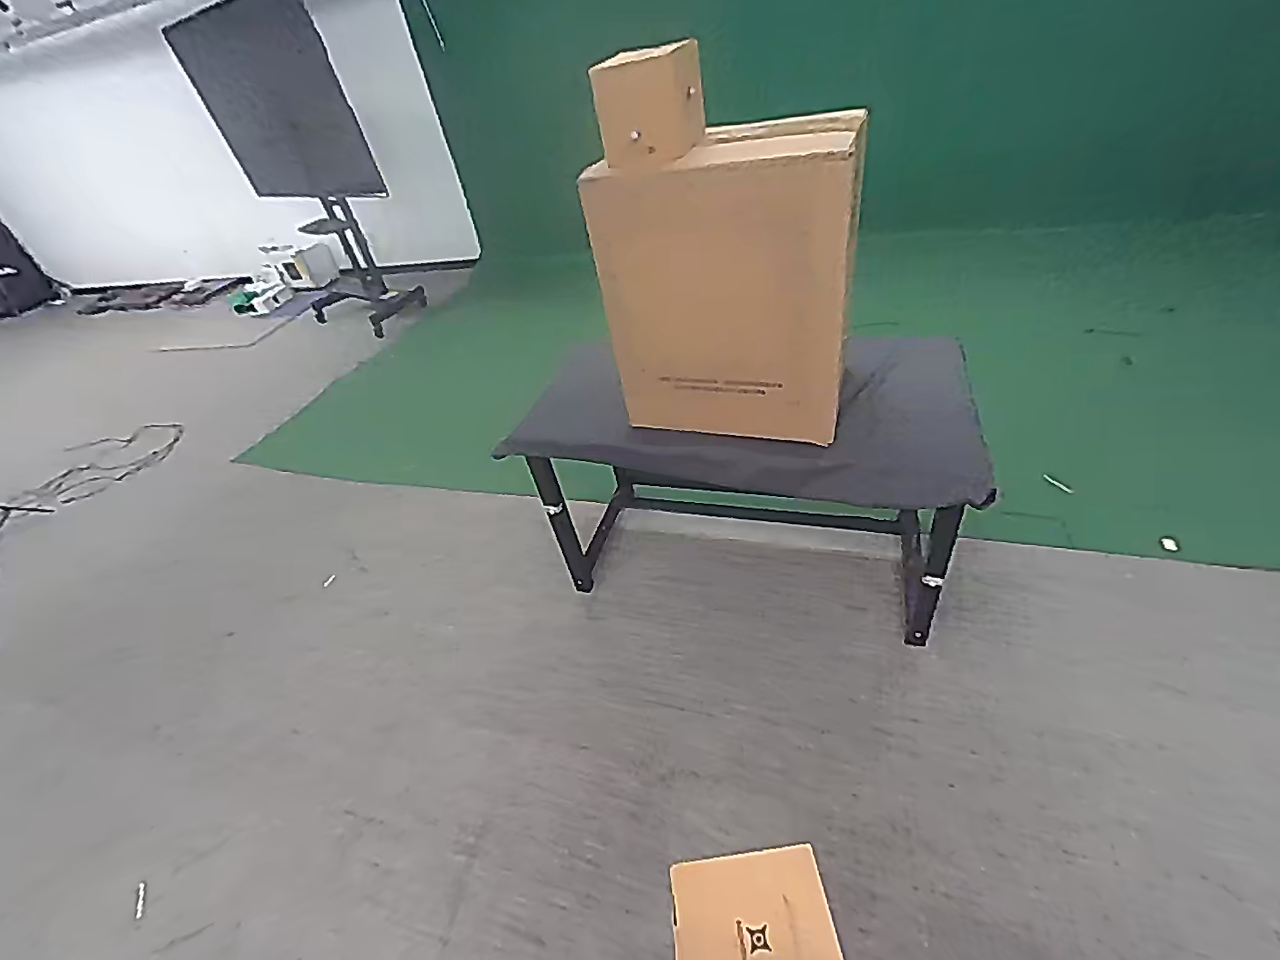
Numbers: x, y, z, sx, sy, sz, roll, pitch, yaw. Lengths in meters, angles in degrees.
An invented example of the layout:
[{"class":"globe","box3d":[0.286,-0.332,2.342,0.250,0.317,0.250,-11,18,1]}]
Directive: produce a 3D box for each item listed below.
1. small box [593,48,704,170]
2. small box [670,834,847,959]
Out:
[{"class":"small box","box3d":[0.028,-0.752,1.103,0.168,0.176,0.179,7,46,23]},{"class":"small box","box3d":[0.141,0.555,0.640,0.179,0.176,0.168,-11,37,2]}]
